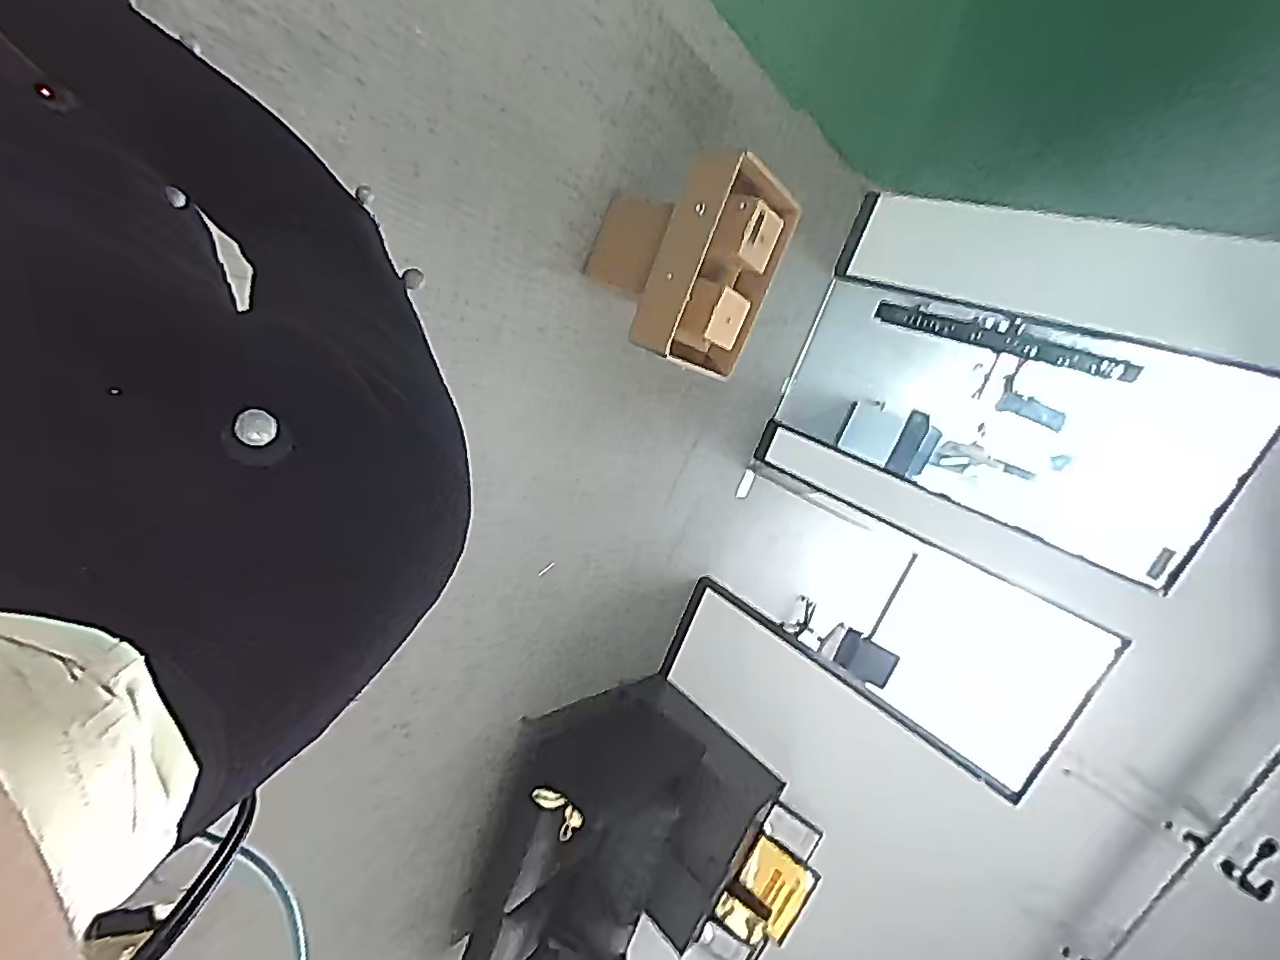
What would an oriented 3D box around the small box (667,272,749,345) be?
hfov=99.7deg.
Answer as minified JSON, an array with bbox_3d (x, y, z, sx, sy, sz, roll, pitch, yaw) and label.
[{"bbox_3d":[0.222,-0.568,1.788,0.179,0.176,0.168,5,113,-51],"label":"small box"}]
